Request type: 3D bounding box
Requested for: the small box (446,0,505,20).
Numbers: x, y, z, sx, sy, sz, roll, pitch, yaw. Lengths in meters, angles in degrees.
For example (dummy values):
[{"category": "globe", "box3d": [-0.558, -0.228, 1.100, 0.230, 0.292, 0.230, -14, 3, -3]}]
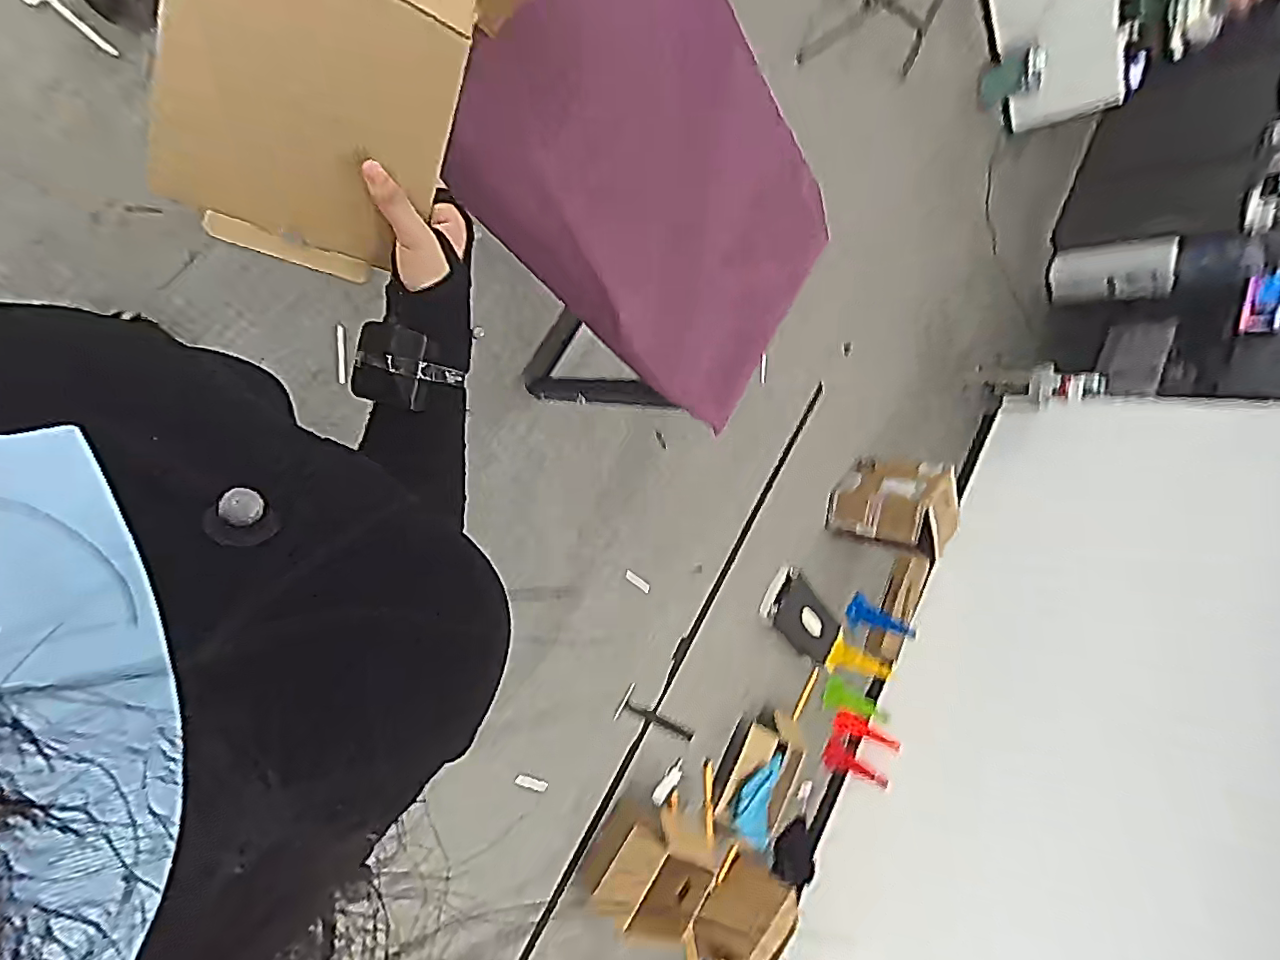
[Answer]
[{"category": "small box", "box3d": [-0.206, -0.697, 0.625, 0.179, 0.176, 0.168, 14, 90, -42]}]
